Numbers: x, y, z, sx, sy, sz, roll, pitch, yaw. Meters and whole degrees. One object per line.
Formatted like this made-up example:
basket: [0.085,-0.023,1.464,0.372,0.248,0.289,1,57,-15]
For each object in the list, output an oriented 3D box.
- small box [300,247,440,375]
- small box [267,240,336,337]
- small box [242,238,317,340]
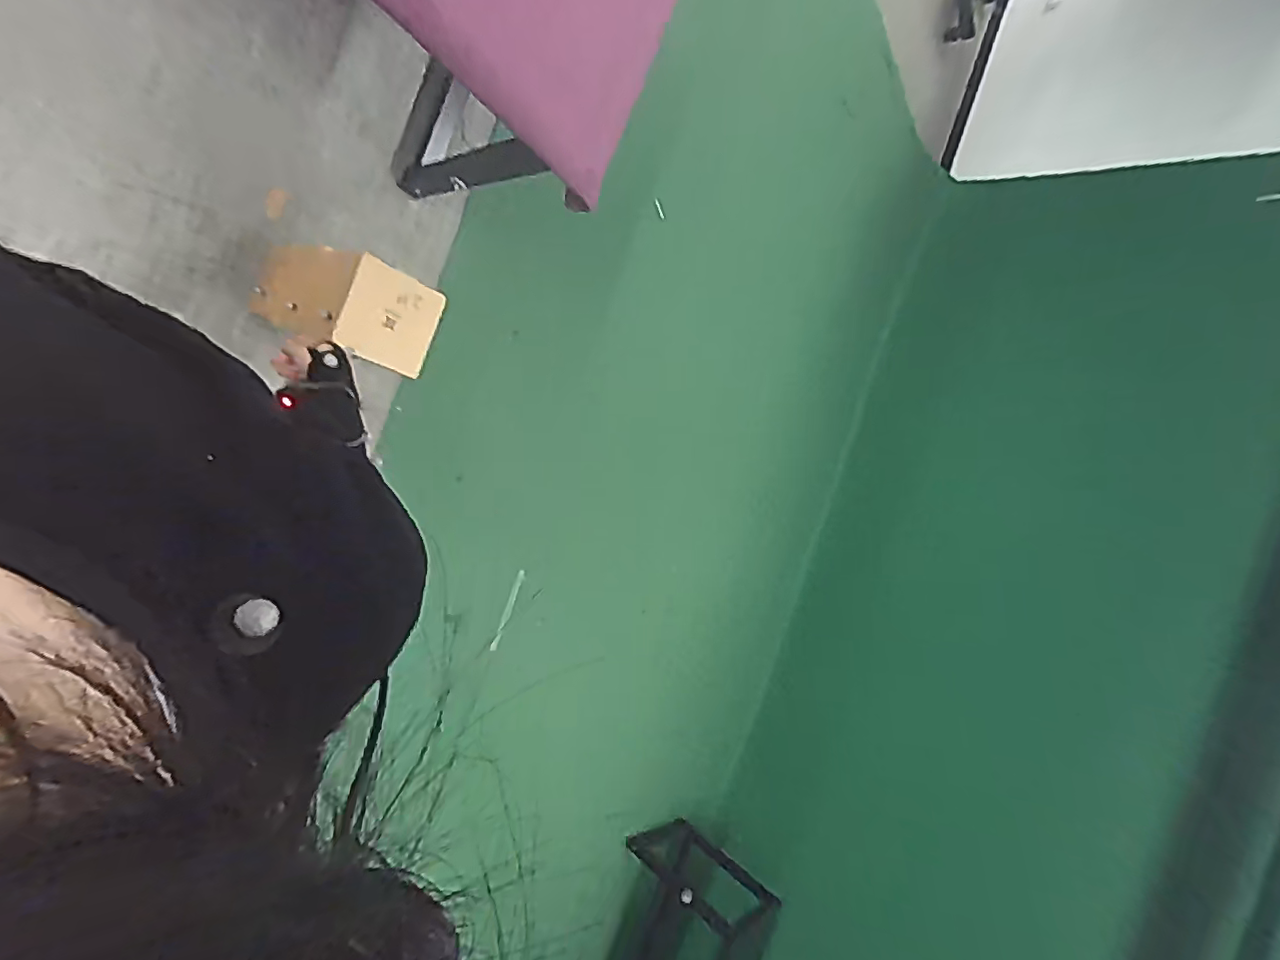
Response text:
small box: [-0.524,-0.324,1.041,0.168,0.176,0.179,21,89,-51]
small box: [-0.649,-0.380,1.135,0.168,0.176,0.179,20,91,-51]
small box: [-0.769,-0.425,1.234,0.179,0.176,0.168,24,86,-51]
